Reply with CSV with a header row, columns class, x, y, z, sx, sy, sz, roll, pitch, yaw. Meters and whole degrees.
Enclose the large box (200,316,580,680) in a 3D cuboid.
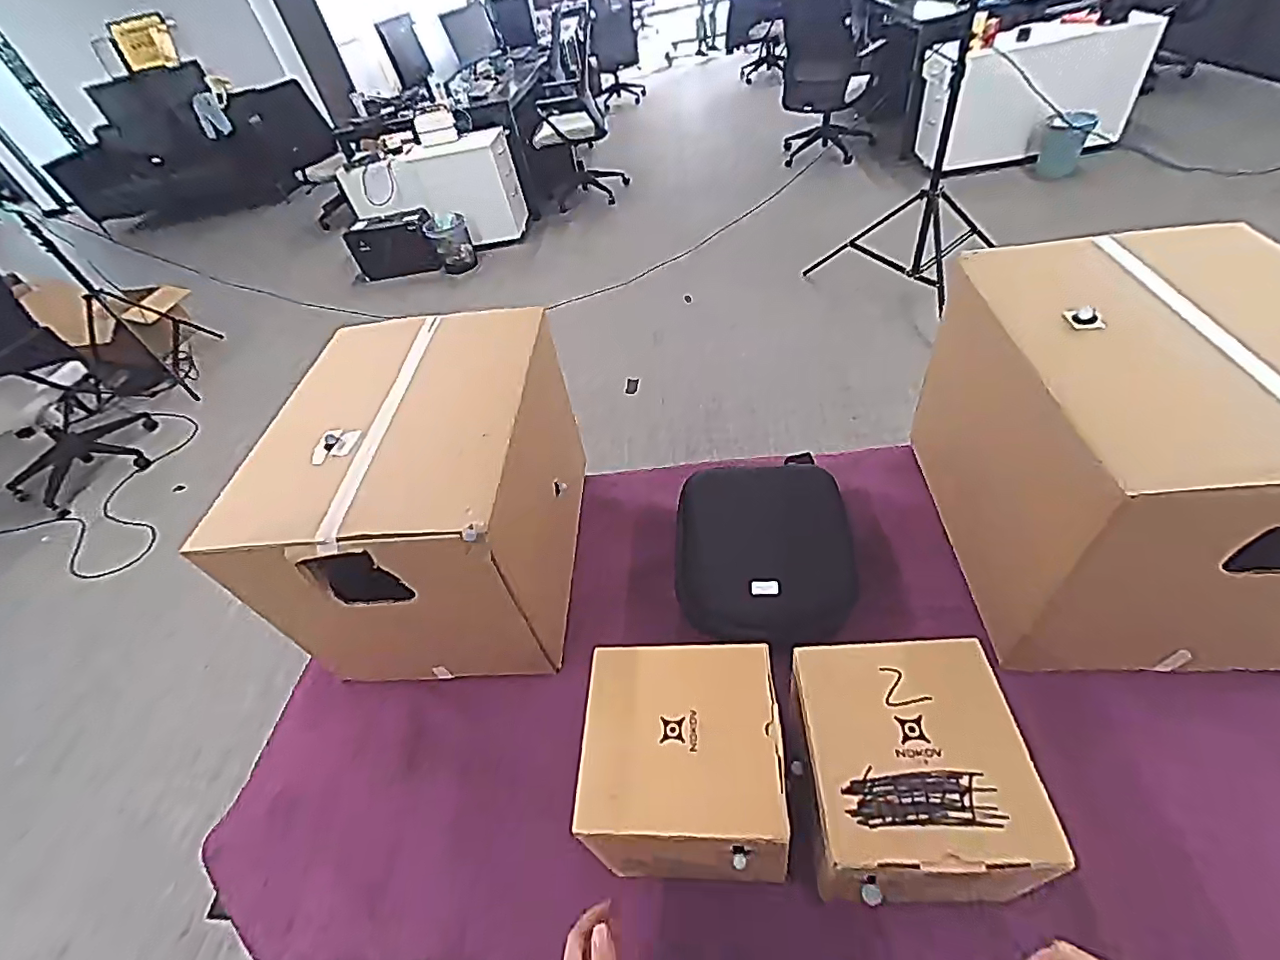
class,x,y,z,sx,sy,sz,roll,pitch,yaw
large box,-0.271,0.023,0.760,0.320,0.320,0.408,-5,48,6
